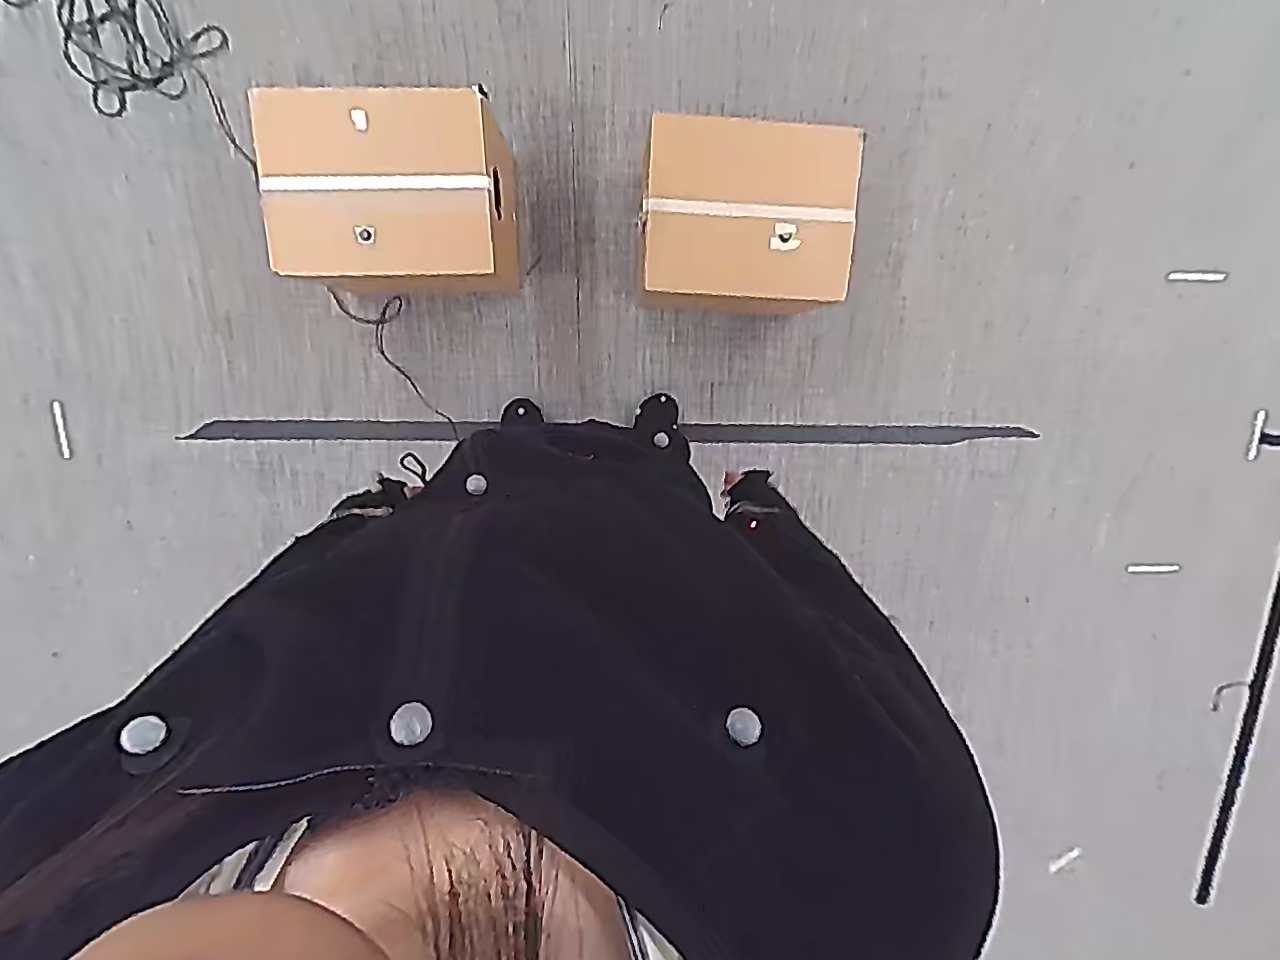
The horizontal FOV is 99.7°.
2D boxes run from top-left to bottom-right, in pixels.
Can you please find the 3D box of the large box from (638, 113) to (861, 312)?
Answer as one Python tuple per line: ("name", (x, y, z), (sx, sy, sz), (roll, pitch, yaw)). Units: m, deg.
("large box", (0.206, -0.549, 1.183), (0.408, 0.320, 0.320), (2, 102, -5))
